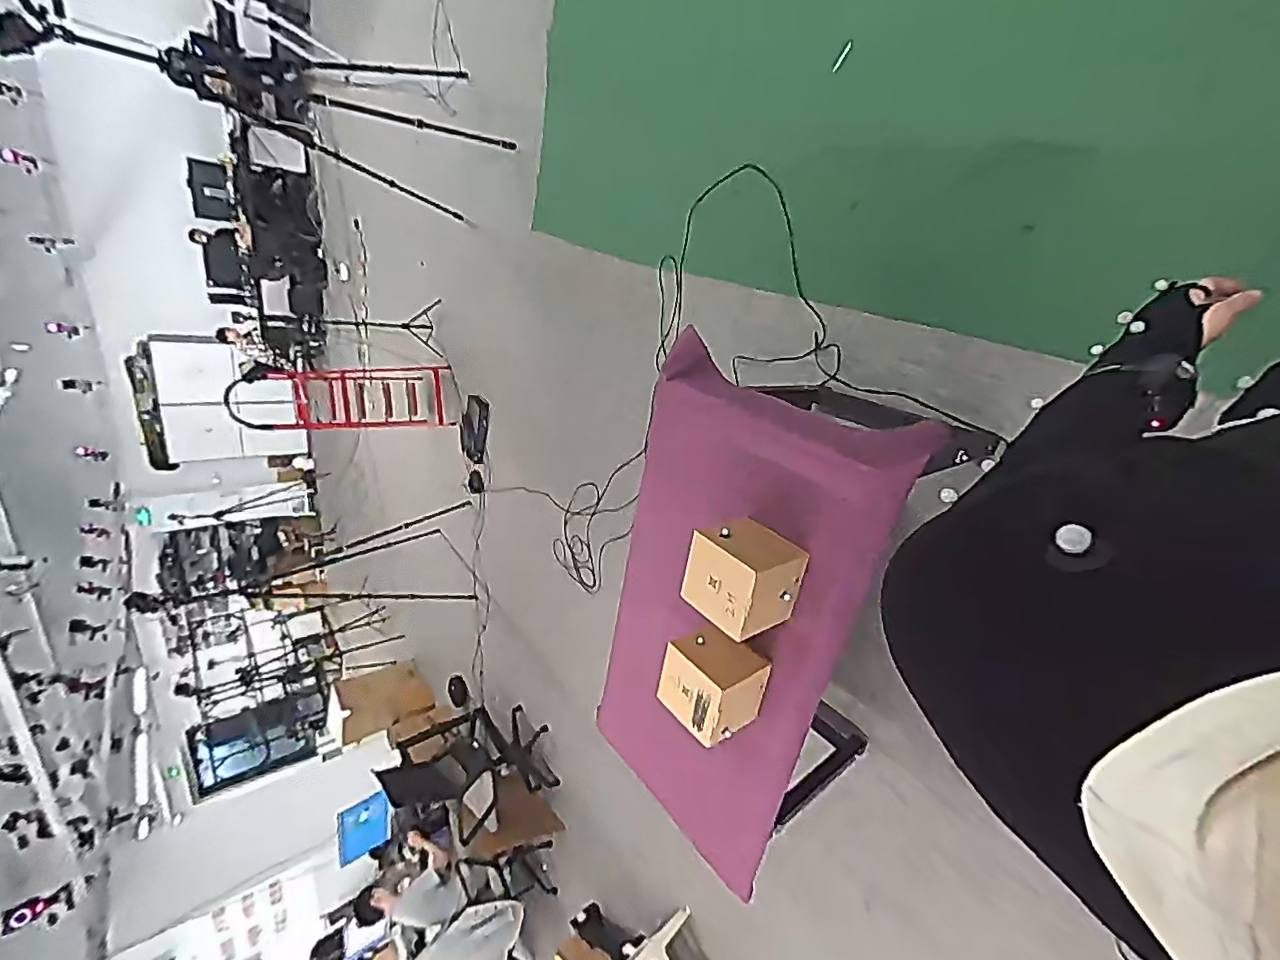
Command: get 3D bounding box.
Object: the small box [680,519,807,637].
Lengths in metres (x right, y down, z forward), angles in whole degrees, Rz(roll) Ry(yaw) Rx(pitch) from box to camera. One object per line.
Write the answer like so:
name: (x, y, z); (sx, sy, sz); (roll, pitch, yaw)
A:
small box: (0.215, 0.193, 1.135); (0.179, 0.176, 0.168); (33, 122, 42)
